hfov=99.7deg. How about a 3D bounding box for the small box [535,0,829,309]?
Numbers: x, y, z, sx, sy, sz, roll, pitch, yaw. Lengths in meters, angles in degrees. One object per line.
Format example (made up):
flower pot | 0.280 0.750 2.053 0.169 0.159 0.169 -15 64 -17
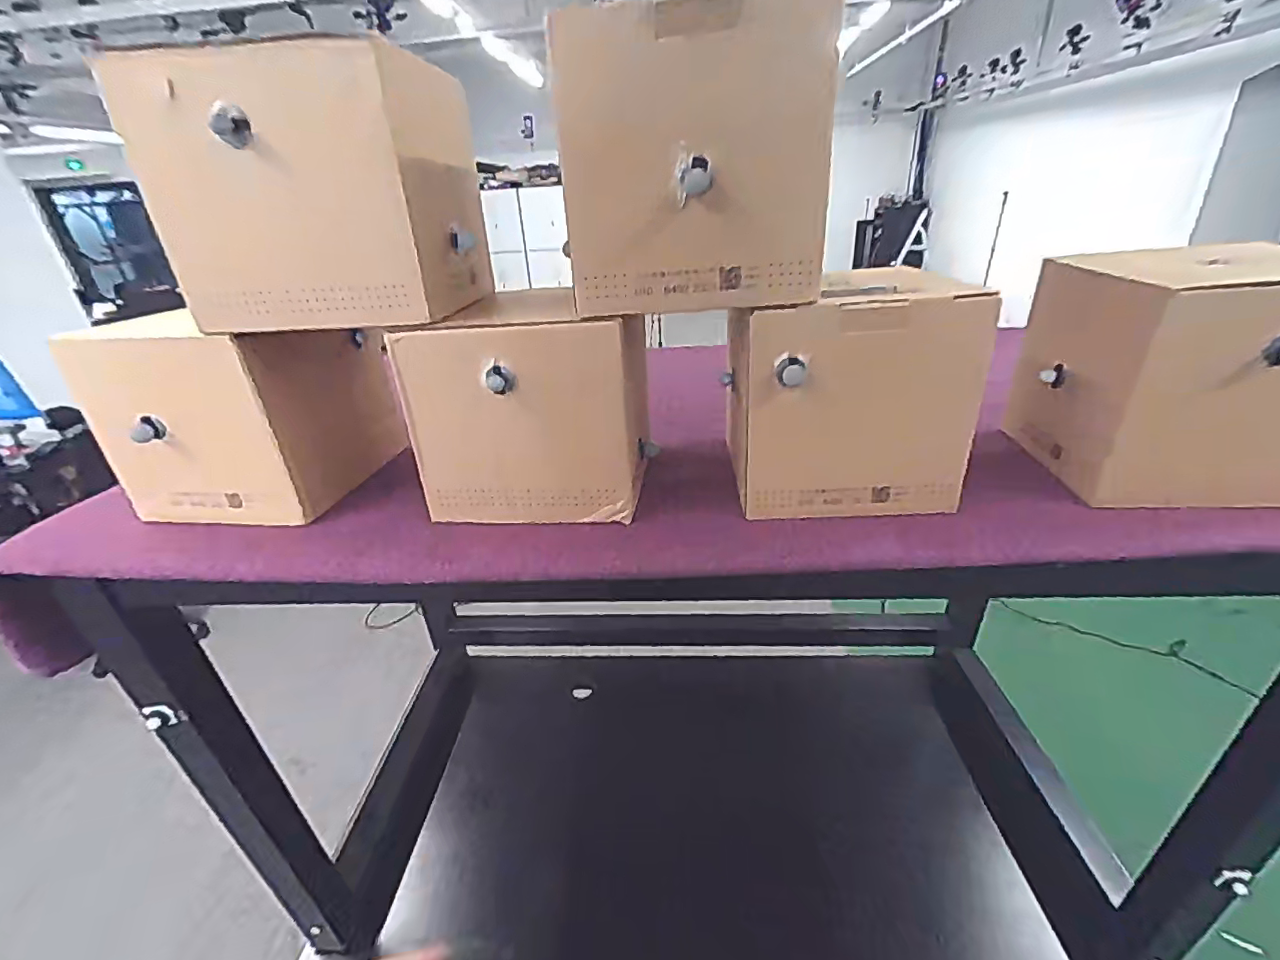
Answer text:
small box | 0.031 -0.226 0.399 0.168 0.176 0.179 -3 28 3

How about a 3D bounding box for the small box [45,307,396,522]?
small box | -0.361 -0.071 0.511 0.168 0.176 0.179 0 27 8

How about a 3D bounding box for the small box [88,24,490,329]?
small box | -0.235 -0.217 0.419 0.179 0.176 0.168 -1 27 3
